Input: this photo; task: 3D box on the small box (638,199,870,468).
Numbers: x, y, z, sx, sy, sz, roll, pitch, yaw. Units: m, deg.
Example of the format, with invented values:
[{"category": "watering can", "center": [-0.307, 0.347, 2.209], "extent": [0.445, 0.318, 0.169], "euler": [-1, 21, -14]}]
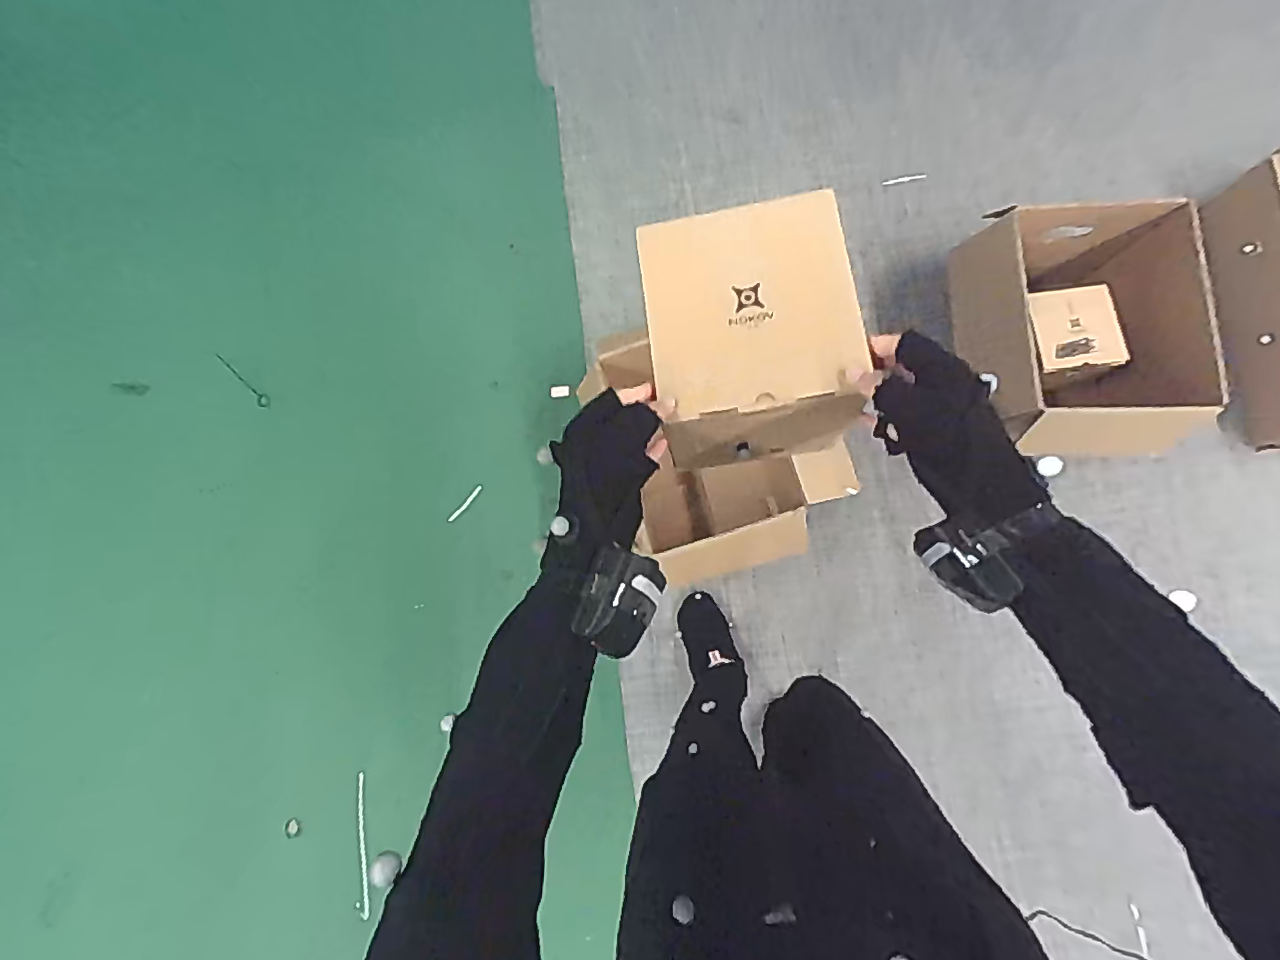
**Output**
[{"category": "small box", "center": [0.097, -0.122, 0.515], "extent": [0.168, 0.176, 0.179], "euler": [-9, 77, 7]}]
